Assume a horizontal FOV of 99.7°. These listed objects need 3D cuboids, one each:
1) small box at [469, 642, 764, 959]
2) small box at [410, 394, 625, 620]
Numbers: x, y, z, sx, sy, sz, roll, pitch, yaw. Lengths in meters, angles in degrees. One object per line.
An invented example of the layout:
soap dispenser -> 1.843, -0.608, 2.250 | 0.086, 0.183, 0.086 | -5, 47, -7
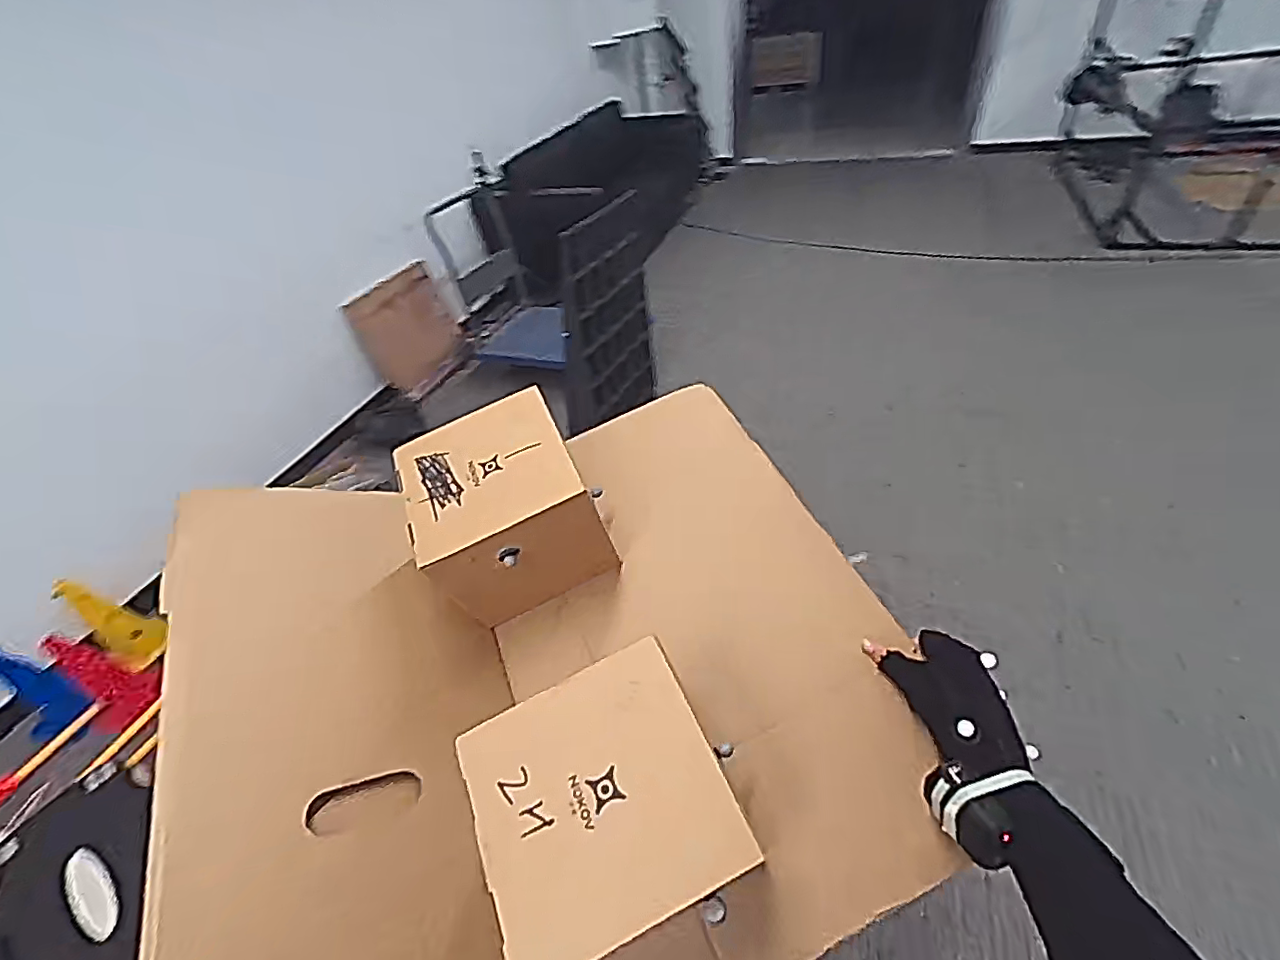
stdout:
small box -> -0.013, 0.266, 0.455 | 0.179, 0.176, 0.168 | -26, 55, -3
small box -> -0.138, 0.038, 0.635 | 0.179, 0.176, 0.168 | -25, 55, -5
